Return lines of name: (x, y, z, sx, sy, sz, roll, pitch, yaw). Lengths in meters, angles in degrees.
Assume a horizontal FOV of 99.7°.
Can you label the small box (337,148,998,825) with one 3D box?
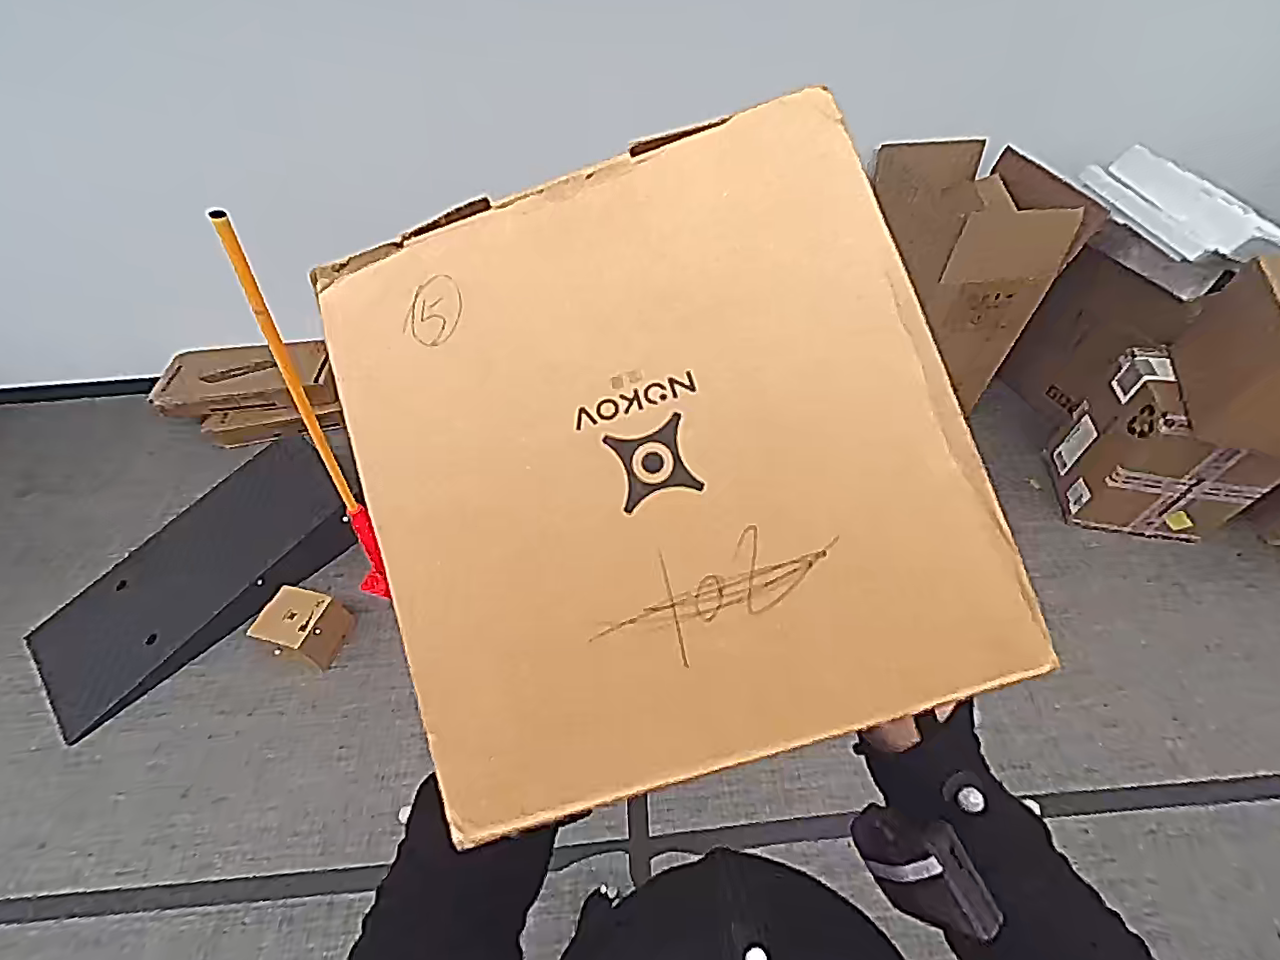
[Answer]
small box: (0.006, 0.006, 0.245, 0.168, 0.176, 0.179, -18, 83, 4)
